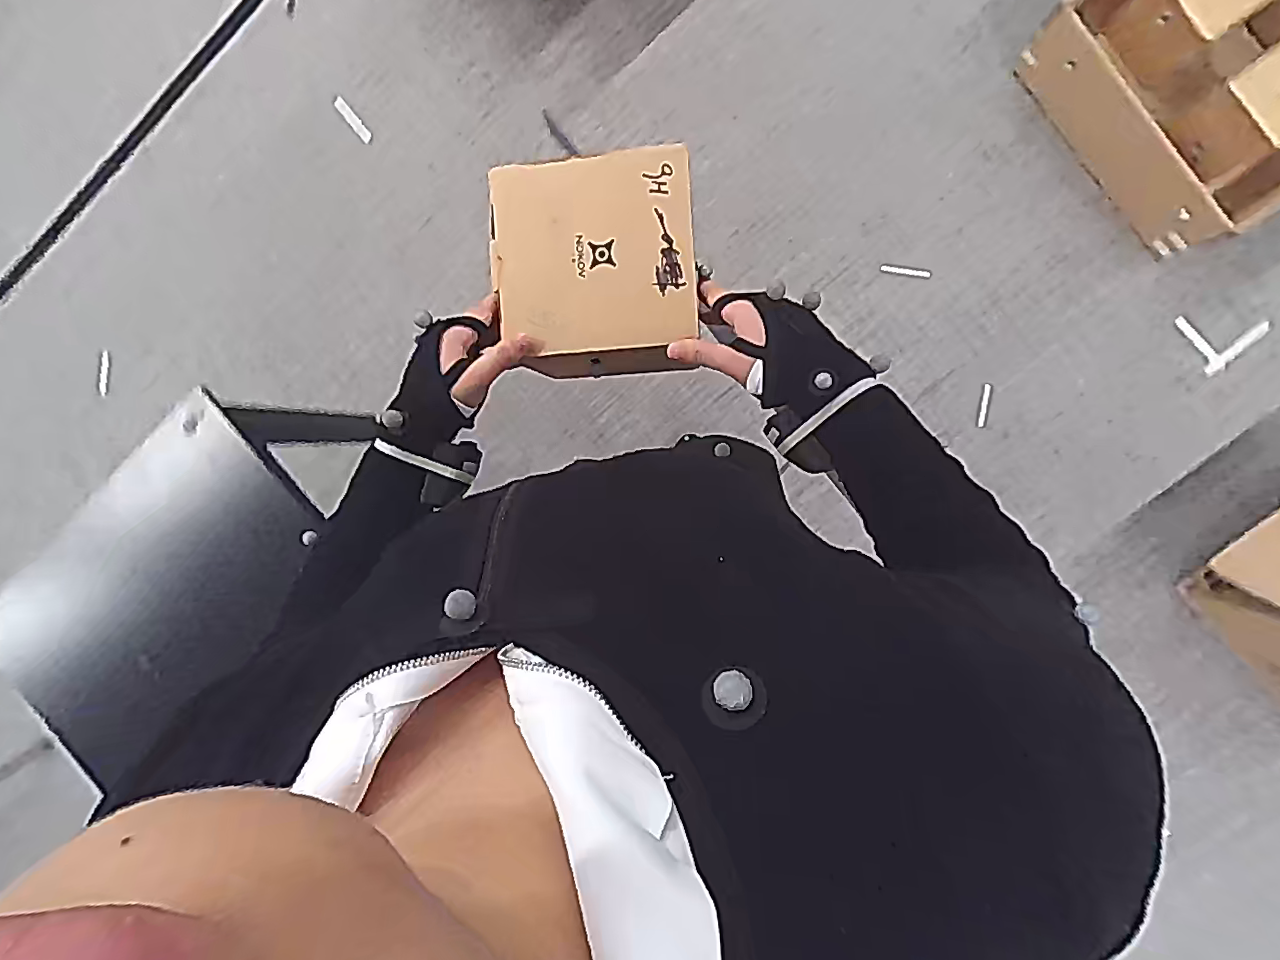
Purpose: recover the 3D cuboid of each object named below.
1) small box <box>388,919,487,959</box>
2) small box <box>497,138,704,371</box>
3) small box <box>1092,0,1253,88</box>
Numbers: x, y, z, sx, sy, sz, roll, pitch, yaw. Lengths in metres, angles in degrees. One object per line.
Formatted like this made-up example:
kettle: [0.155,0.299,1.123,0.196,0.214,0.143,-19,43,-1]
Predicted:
small box: [-0.306,0.795,0.770,0.168,0.176,0.179,-39,89,7]
small box: [-0.027,-0.206,0.546,0.179,0.176,0.168,-2,93,7]
small box: [1.156,-1.020,1.180,0.168,0.176,0.179,-36,91,9]
